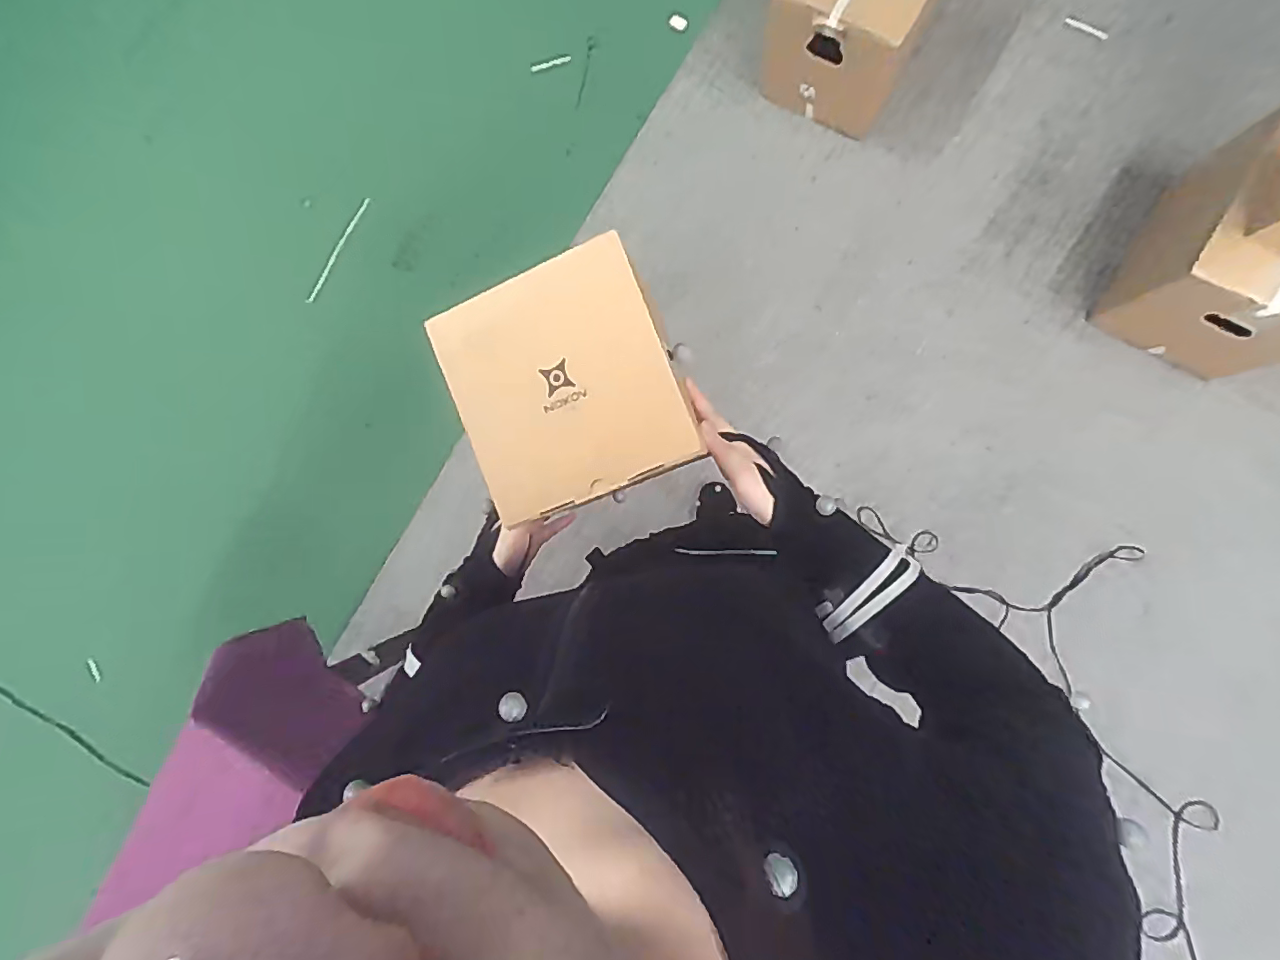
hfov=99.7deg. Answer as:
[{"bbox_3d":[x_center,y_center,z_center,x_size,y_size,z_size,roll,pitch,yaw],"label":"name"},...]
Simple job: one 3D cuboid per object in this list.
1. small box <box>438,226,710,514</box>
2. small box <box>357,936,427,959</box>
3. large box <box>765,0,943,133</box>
[{"bbox_3d":[-0.042,-0.084,0.486,0.168,0.176,0.179,-21,91,10],"label":"small box"},{"bbox_3d":[-0.375,0.796,0.748,0.179,0.176,0.168,29,95,8],"label":"small box"},{"bbox_3d":[0.536,-1.155,1.291,0.320,0.320,0.408,31,93,8],"label":"large box"}]
